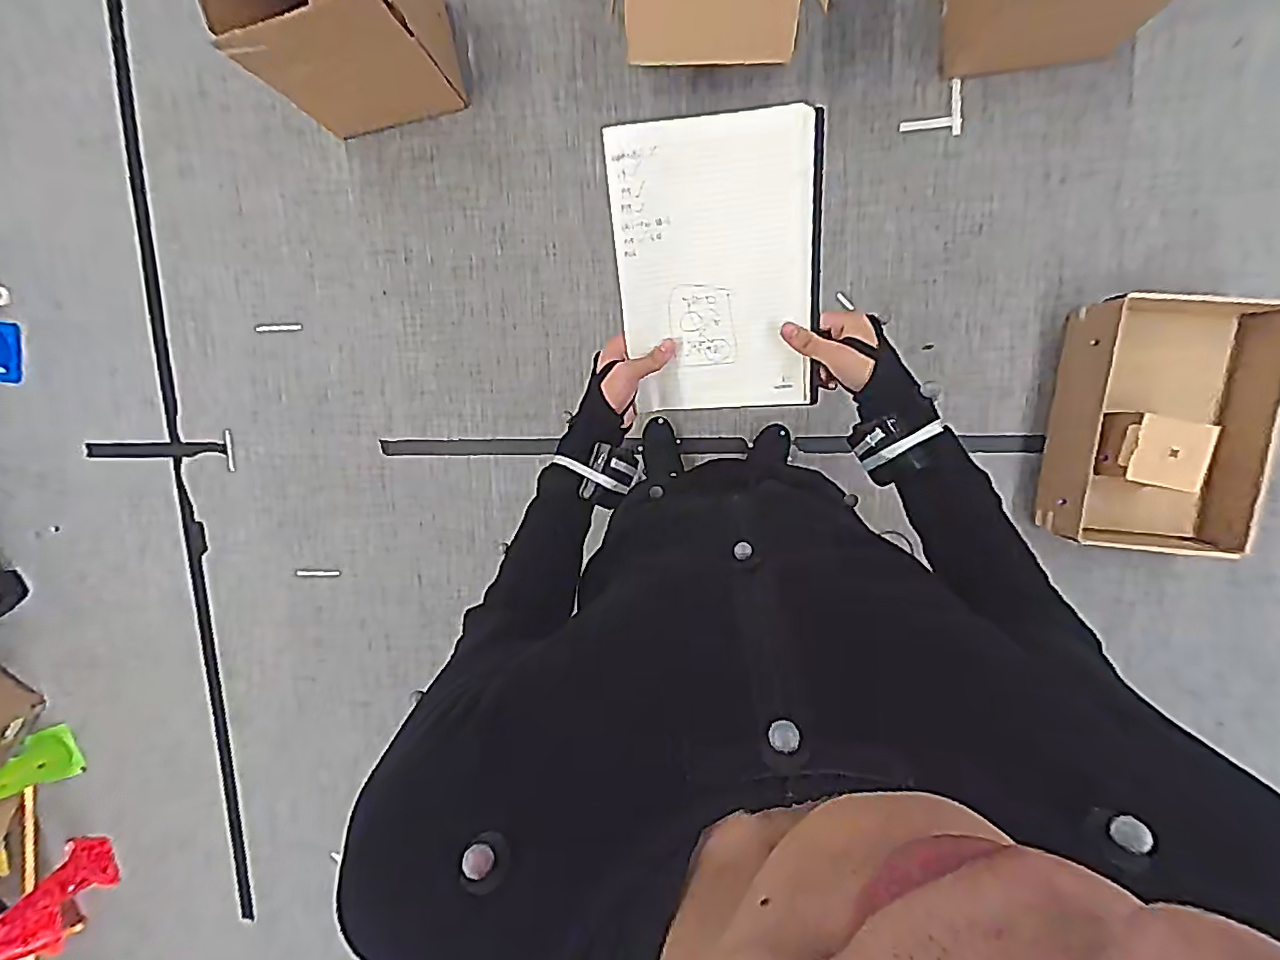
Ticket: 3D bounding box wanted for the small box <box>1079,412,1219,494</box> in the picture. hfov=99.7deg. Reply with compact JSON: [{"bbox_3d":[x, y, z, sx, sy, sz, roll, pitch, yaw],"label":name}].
[{"bbox_3d":[1.271,-0.072,1.368,0.179,0.176,0.168,13,98,4],"label":"small box"}]
